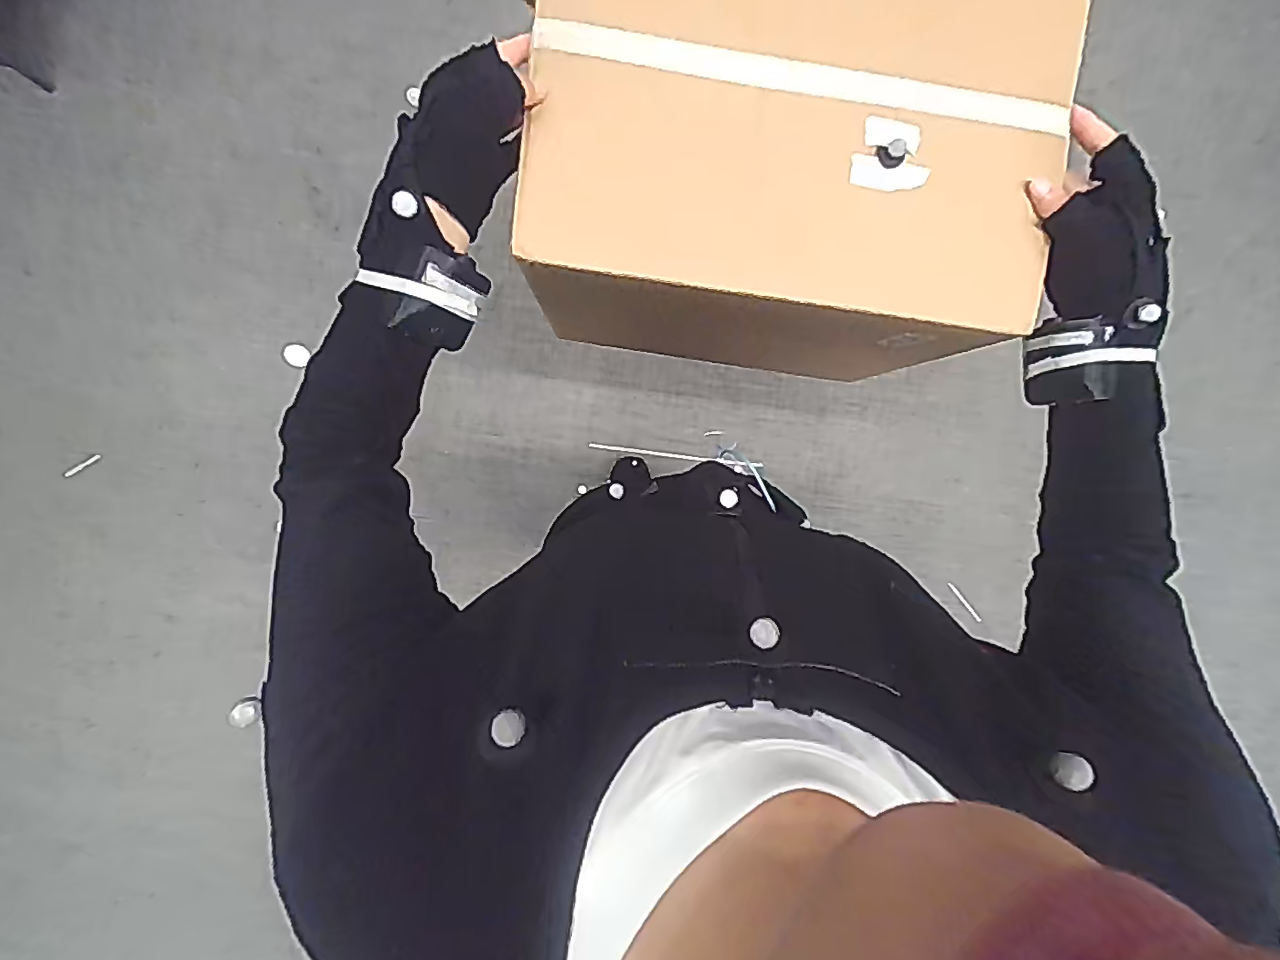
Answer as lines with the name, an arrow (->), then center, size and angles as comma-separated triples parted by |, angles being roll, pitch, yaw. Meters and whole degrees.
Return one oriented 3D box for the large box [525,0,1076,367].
large box -> 0.116, -0.312, 0.557 | 0.408, 0.320, 0.320 | 7, 94, -3
